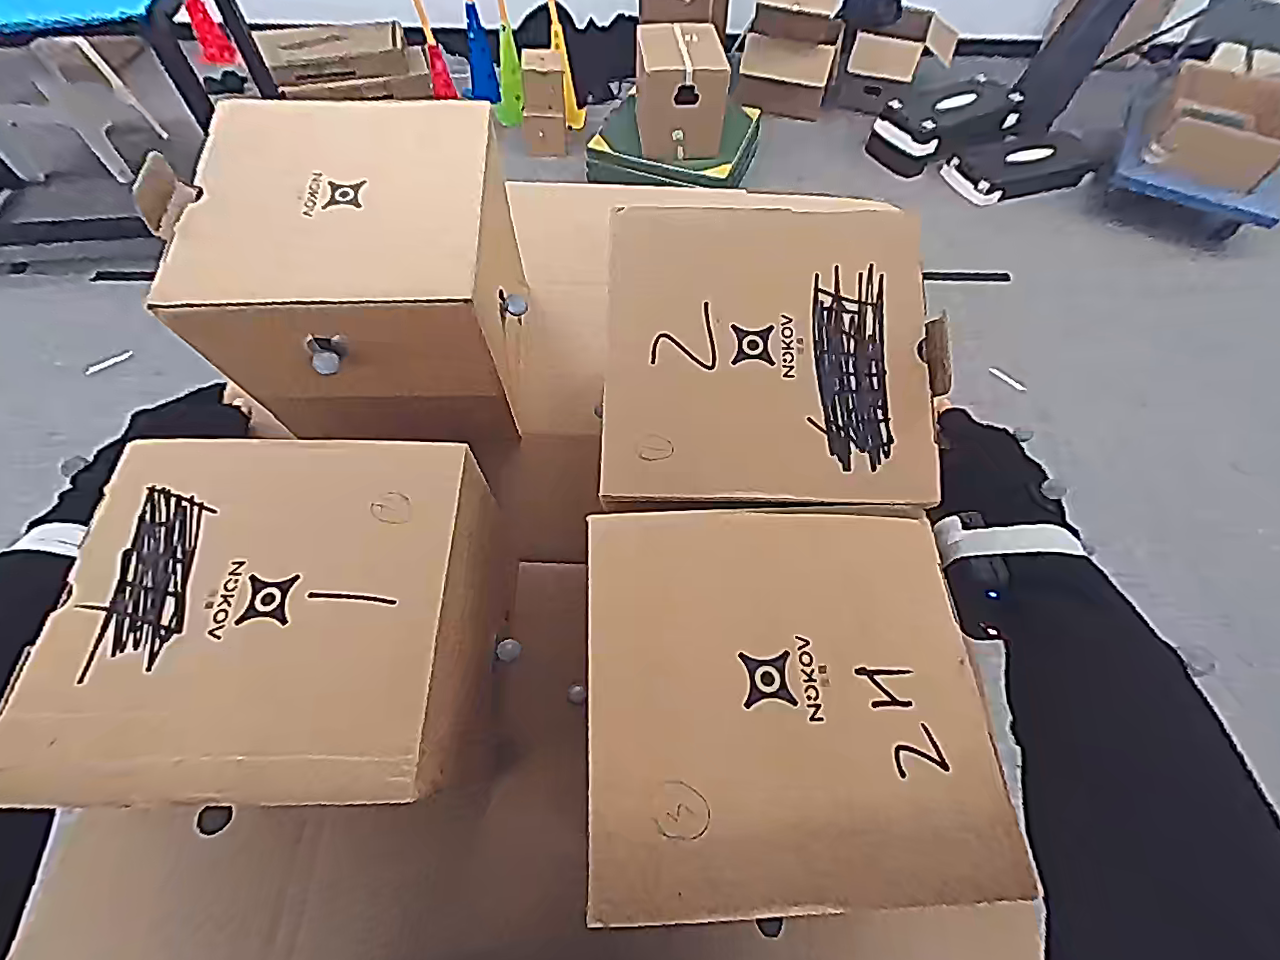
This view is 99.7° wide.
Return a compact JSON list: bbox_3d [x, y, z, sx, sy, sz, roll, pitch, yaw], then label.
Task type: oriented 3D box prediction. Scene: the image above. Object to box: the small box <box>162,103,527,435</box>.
[{"bbox_3d":[-0.185,-0.144,0.407,0.179,0.176,0.168,-3,67,-1],"label":"small box"}]
